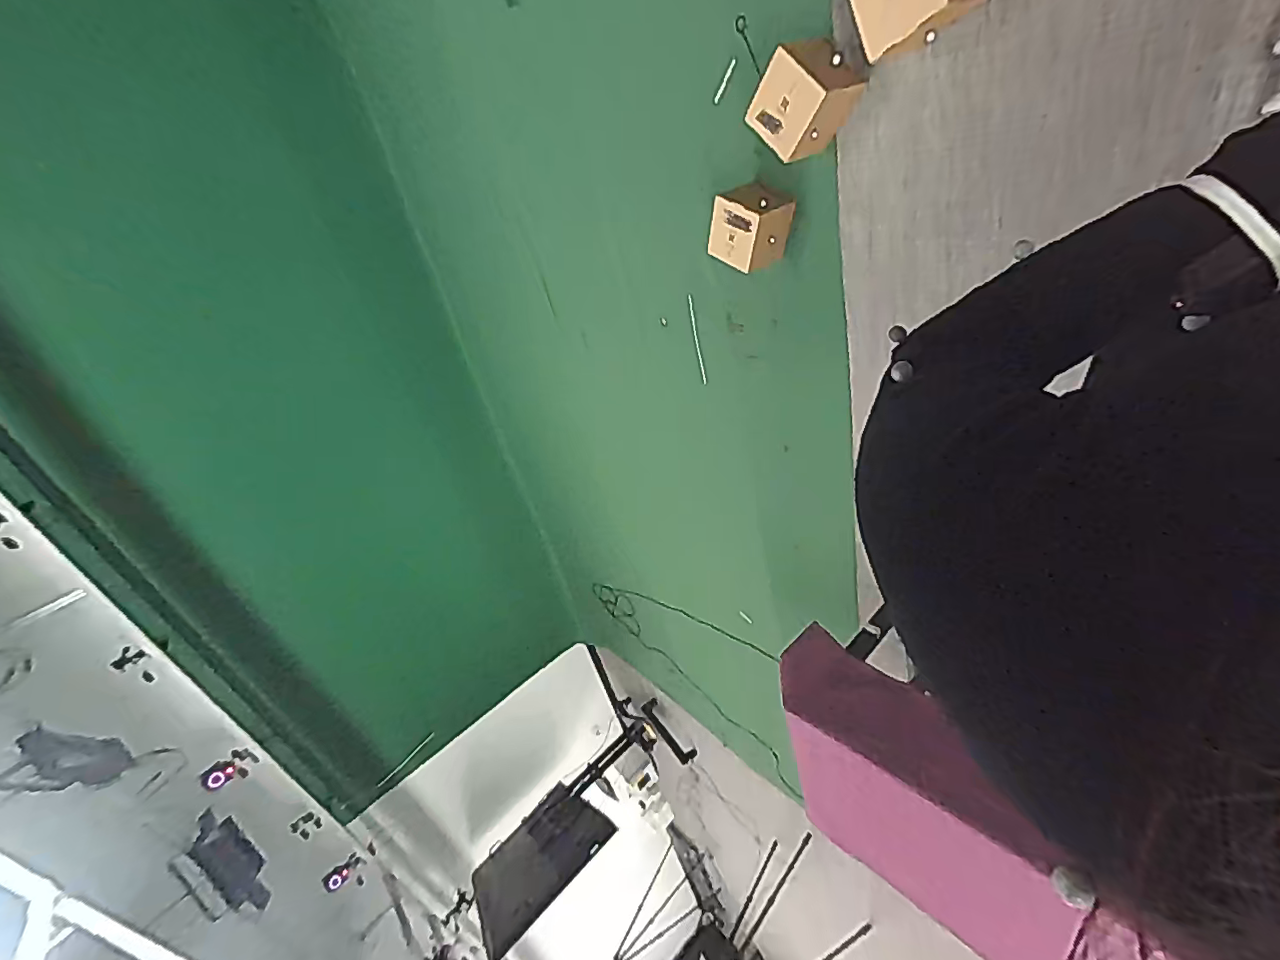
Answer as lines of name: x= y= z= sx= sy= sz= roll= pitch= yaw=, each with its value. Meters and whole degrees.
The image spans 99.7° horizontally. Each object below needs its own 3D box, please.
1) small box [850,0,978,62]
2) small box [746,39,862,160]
small box: x=0.537 y=-0.973 z=1.057 sx=0.168 sy=0.176 sz=0.179 roll=-1 pitch=119 yaw=58
small box: x=0.399 y=-0.929 z=1.319 sx=0.168 sy=0.176 sz=0.179 roll=52 pitch=151 yaw=9
